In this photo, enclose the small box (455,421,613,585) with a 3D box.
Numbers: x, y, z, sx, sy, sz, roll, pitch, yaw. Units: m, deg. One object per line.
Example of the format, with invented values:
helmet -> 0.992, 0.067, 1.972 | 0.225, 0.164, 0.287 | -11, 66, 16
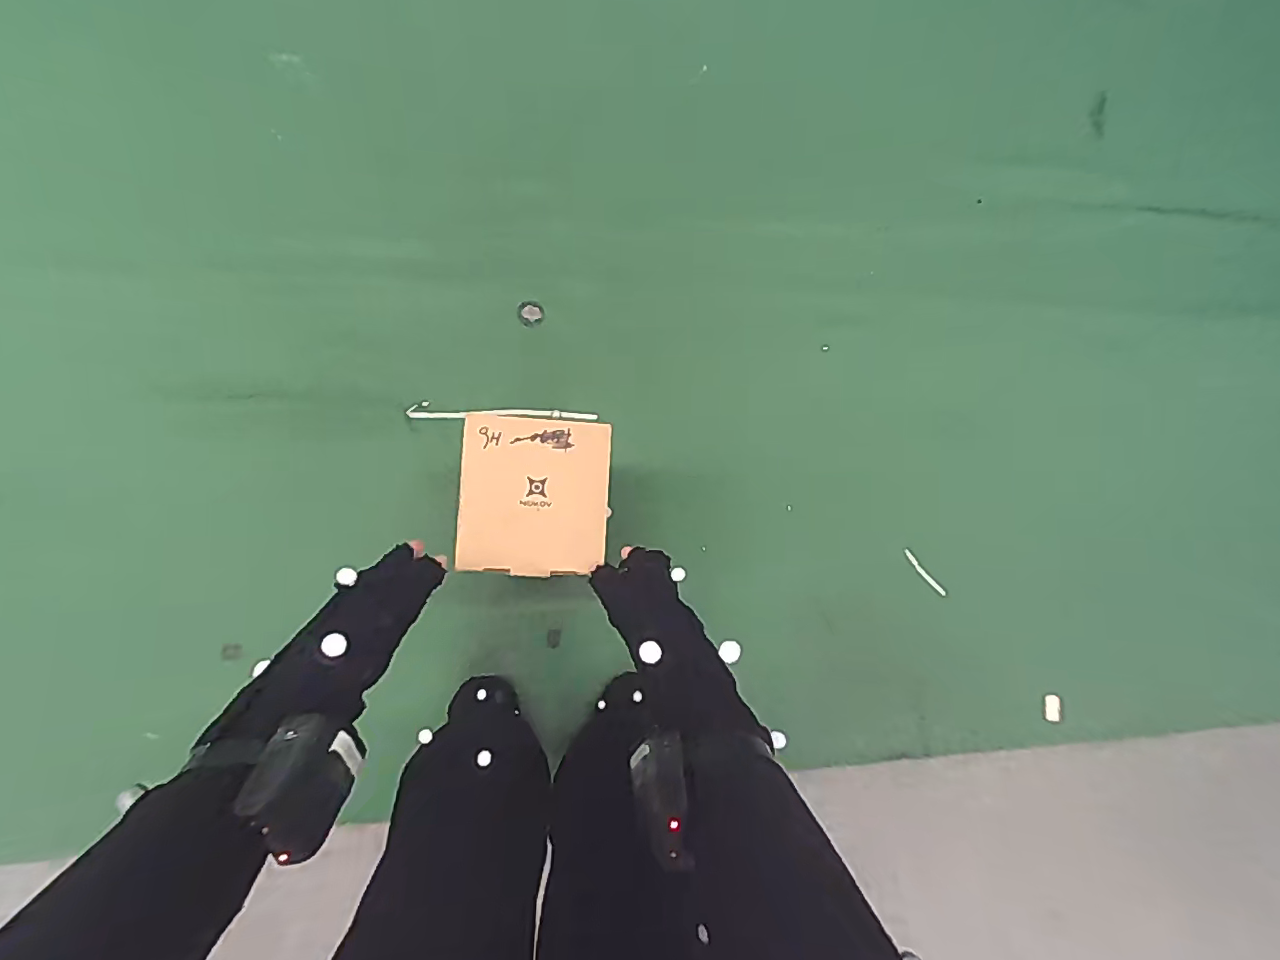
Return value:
small box -> -0.128, 0.029, 0.682 | 0.168, 0.176, 0.179 | 4, 87, -10
